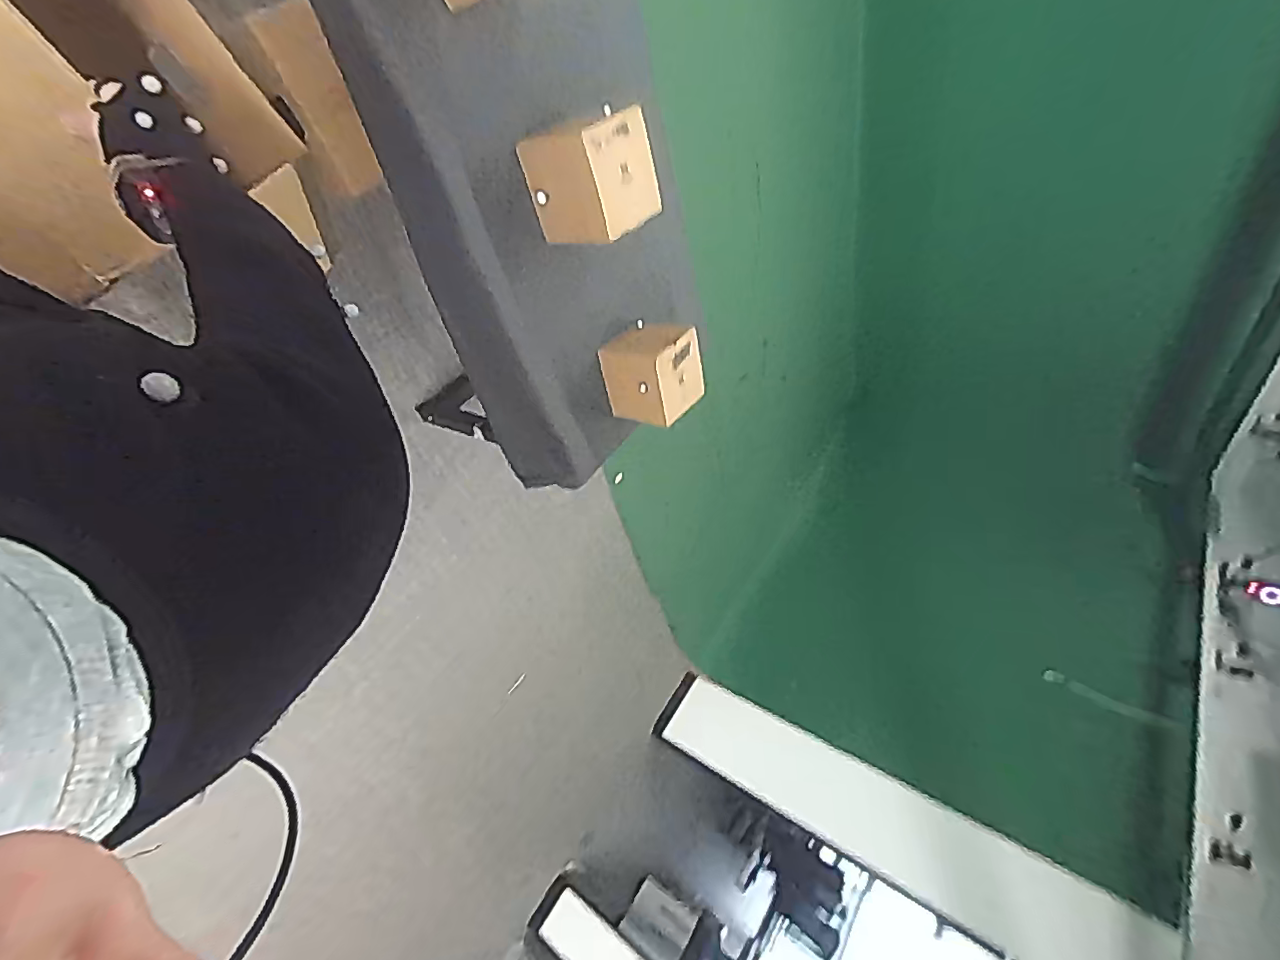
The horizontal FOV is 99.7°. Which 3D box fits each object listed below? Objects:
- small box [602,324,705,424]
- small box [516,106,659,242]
[{"bbox_3d":[0.031,-0.258,1.277,0.168,0.176,0.179,-44,136,-34],"label":"small box"},{"bbox_3d":[-0.093,-0.556,0.991,0.168,0.176,0.179,-48,138,-31],"label":"small box"}]
